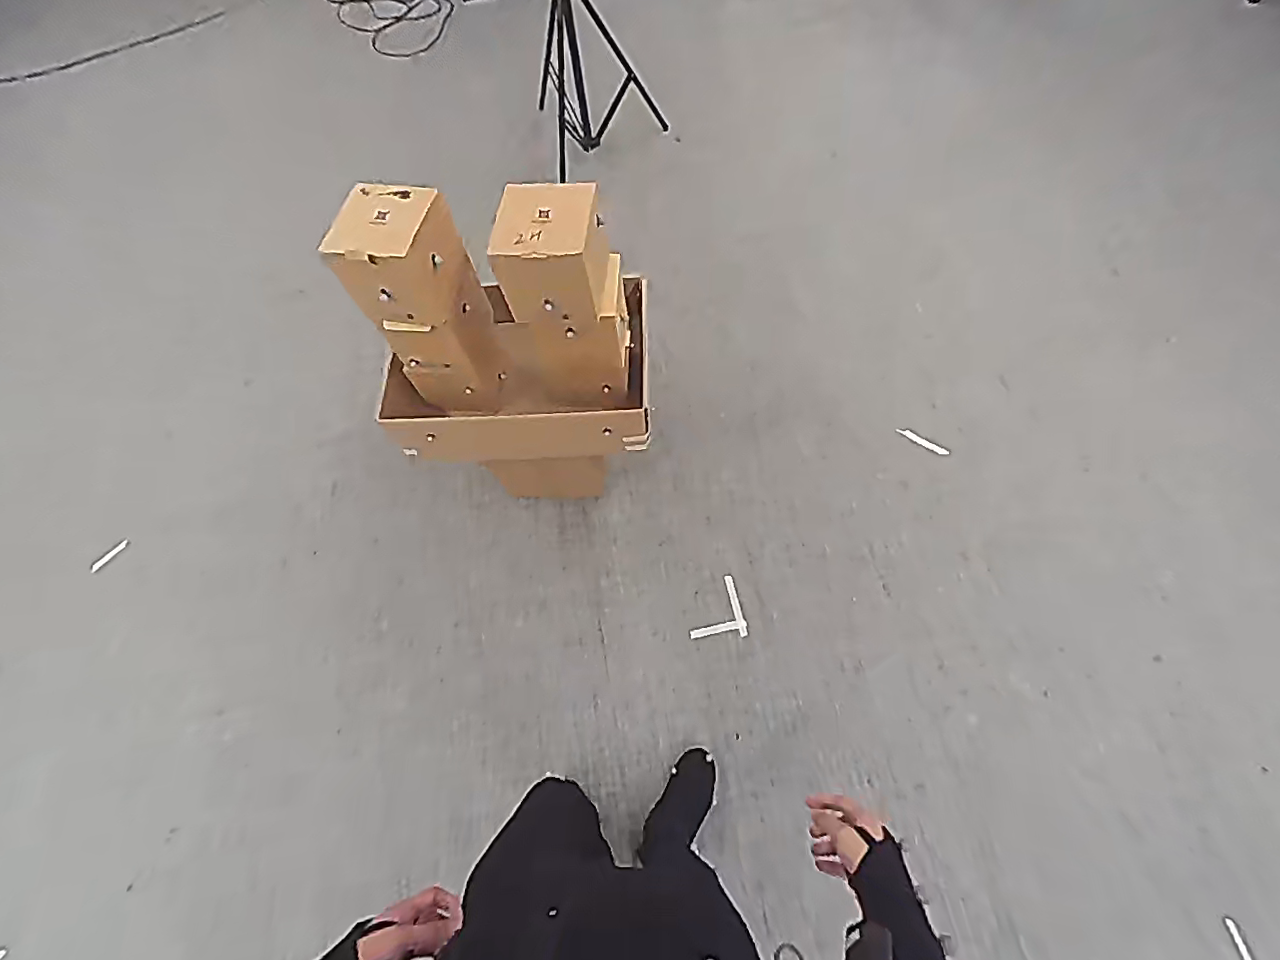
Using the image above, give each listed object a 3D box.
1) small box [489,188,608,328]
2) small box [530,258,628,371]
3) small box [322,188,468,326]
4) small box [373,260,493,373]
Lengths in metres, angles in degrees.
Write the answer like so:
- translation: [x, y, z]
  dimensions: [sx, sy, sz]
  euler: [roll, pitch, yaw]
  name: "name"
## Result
- translation: [-0.157, -0.406, 0.996]
  dimensions: [0.168, 0.176, 0.179]
  euler: [3, 66, 8]
  name: "small box"
- translation: [-0.121, -0.345, 1.146]
  dimensions: [0.179, 0.176, 0.168]
  euler: [0, 65, 6]
  name: "small box"
- translation: [-0.447, -0.414, 1.021]
  dimensions: [0.168, 0.176, 0.179]
  euler: [9, 67, 8]
  name: "small box"
- translation: [-0.436, -0.351, 1.172]
  dimensions: [0.168, 0.176, 0.179]
  euler: [5, 65, 7]
  name: "small box"
